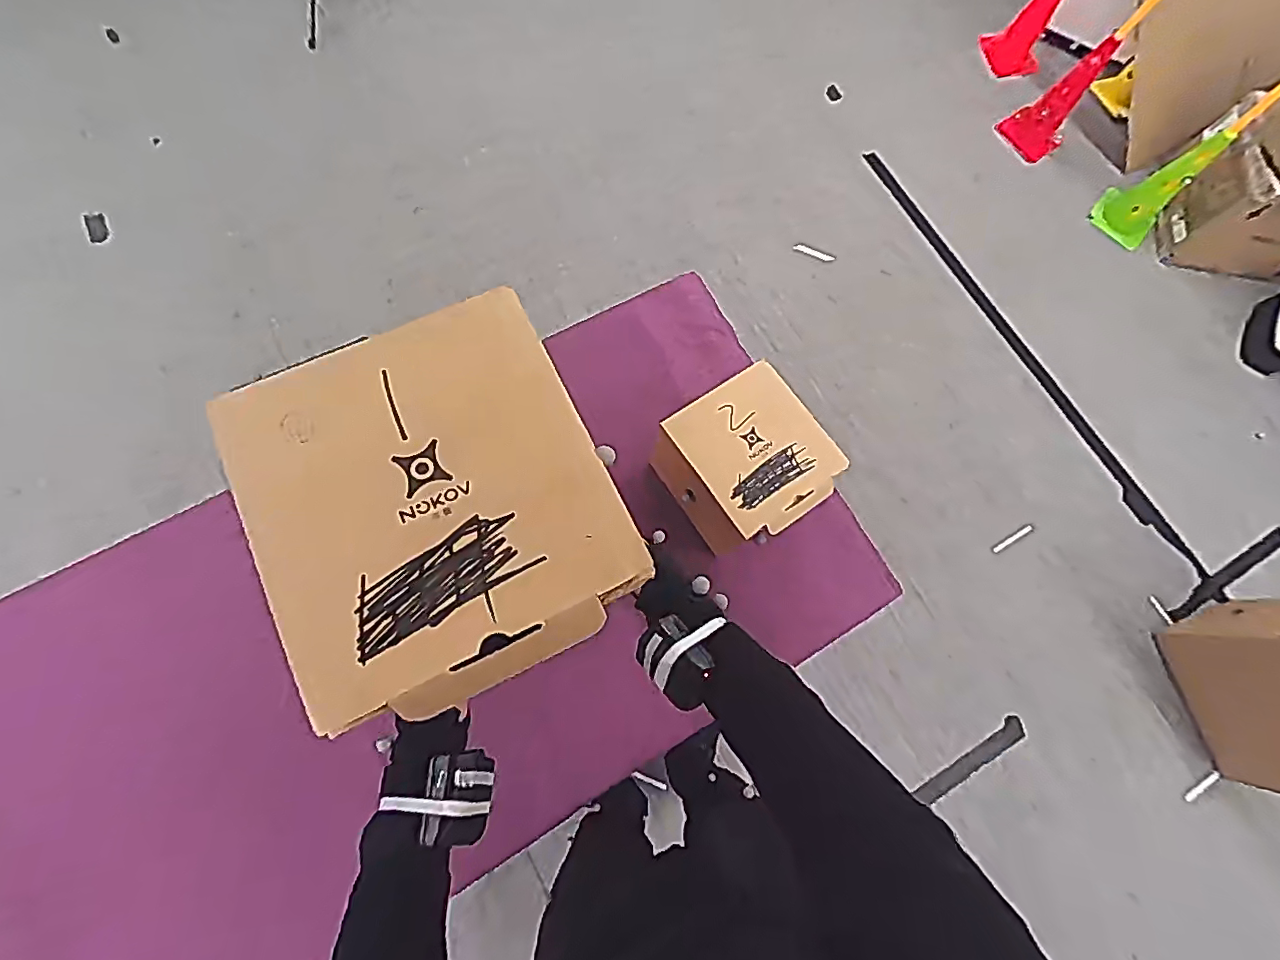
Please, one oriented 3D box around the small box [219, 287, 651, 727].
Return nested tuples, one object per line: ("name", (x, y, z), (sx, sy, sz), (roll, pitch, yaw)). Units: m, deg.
("small box", (-0.106, 0.021, 0.344), (0.168, 0.176, 0.179), (-25, 78, -10))
